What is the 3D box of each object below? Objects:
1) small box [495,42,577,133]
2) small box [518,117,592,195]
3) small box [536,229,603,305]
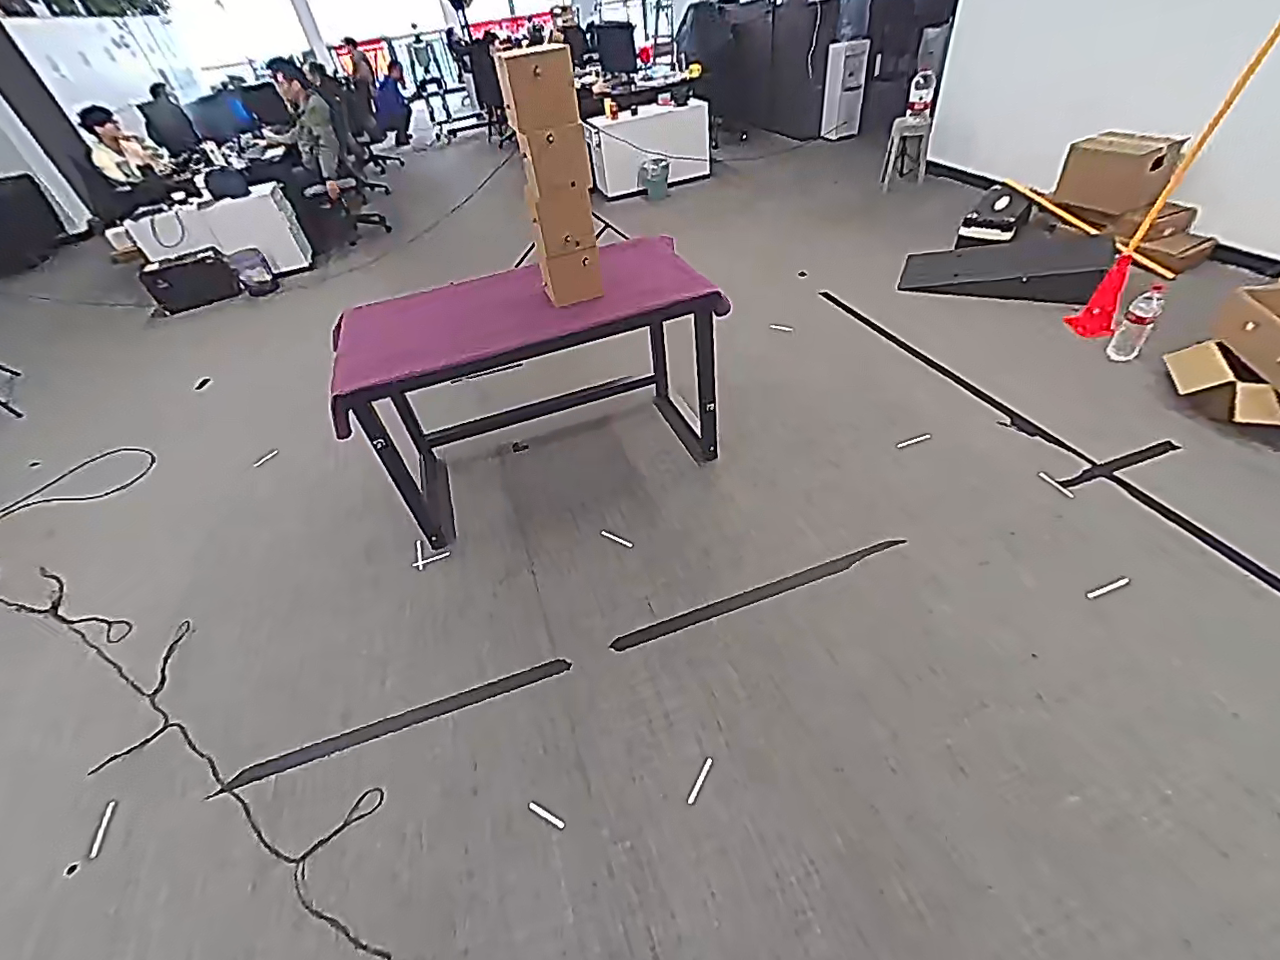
[{"bbox_3d":[-0.279,-1.075,1.479,0.179,0.176,0.168,-20,44,-11],"label":"small box"},{"bbox_3d":[-0.250,-0.952,1.583,0.168,0.176,0.179,-19,44,-10],"label":"small box"},{"bbox_3d":[-0.230,-0.709,1.802,0.179,0.176,0.168,-19,43,-10],"label":"small box"}]
